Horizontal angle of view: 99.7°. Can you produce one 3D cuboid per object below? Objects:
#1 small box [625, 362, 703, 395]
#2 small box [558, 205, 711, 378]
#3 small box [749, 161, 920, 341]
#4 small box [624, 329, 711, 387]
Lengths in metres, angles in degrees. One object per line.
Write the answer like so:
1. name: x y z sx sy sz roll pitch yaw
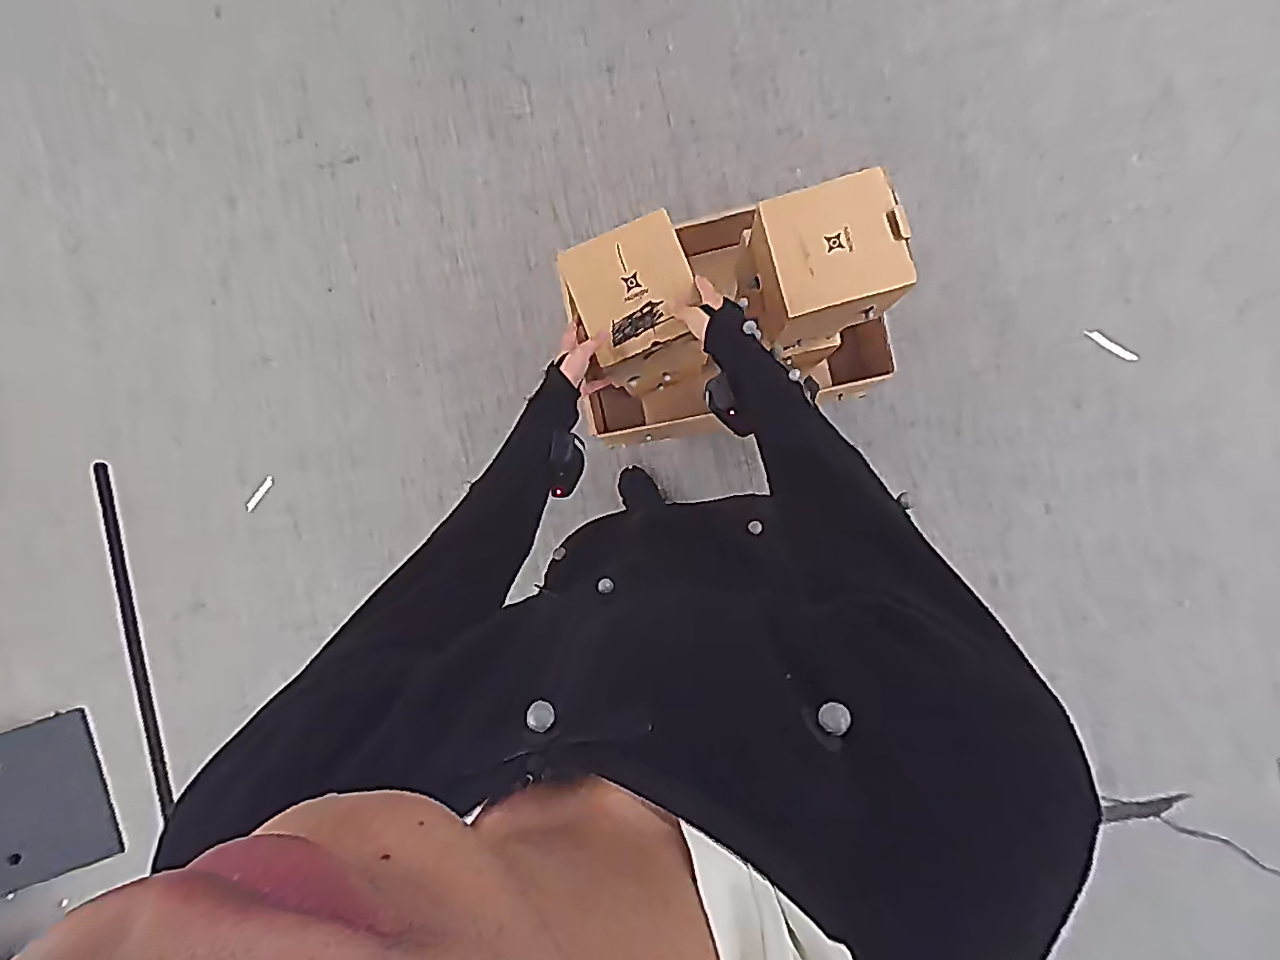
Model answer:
1. small box: 0.028 -0.295 1.140 0.168 0.176 0.179 -20 89 5
2. small box: -0.001 -0.265 0.813 0.168 0.176 0.179 -22 89 4
3. small box: 0.270 -0.319 0.791 0.179 0.176 0.168 -14 89 6
4. small box: 0.020 -0.285 0.976 0.168 0.176 0.179 -19 90 5
